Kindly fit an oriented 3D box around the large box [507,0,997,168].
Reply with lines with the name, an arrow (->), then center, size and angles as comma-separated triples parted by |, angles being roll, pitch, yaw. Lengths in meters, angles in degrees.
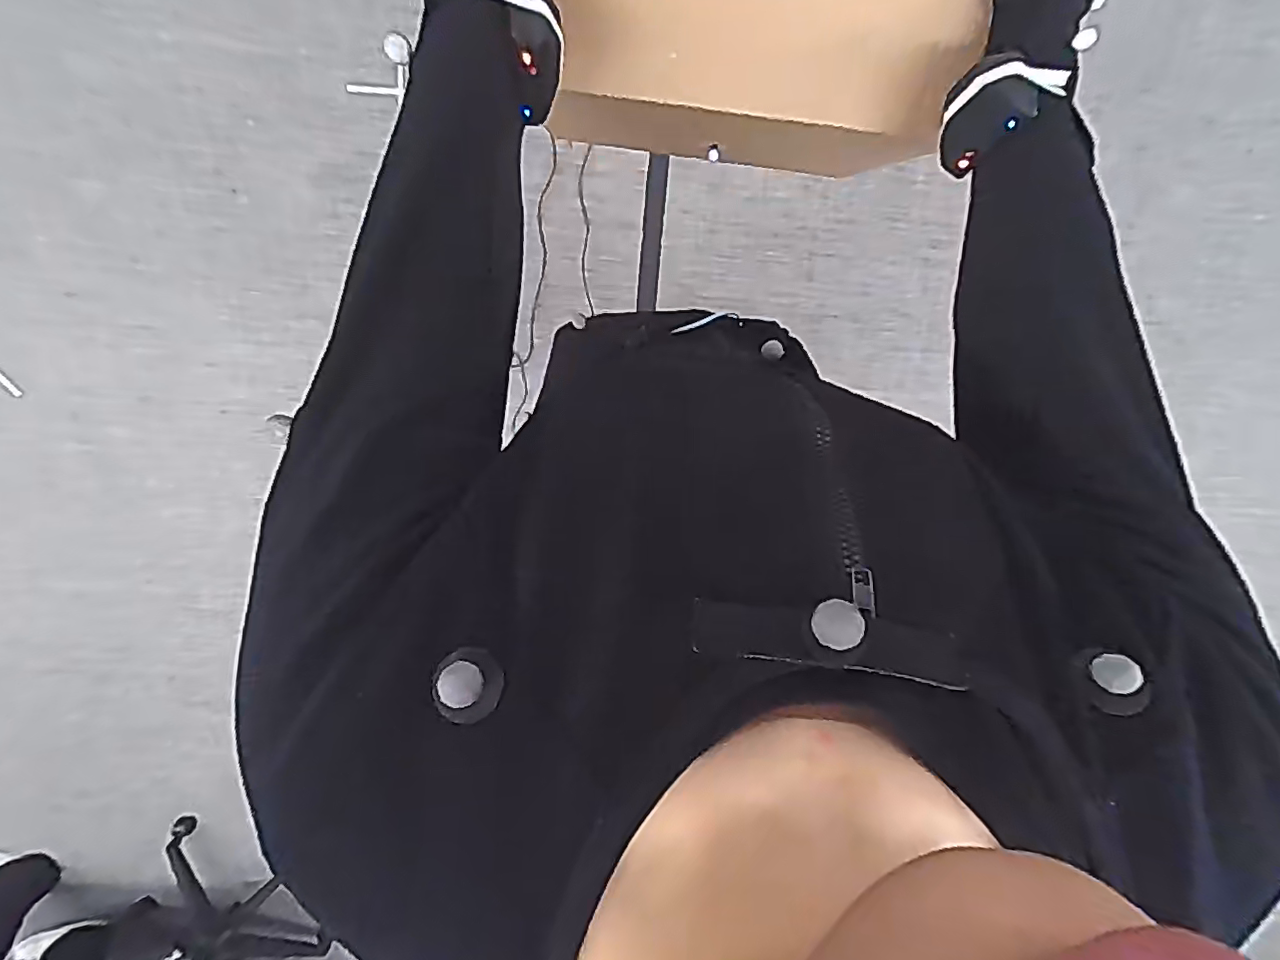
large box -> 0.102, -0.520, 0.542 | 0.408, 0.320, 0.320 | 6, 114, -3
